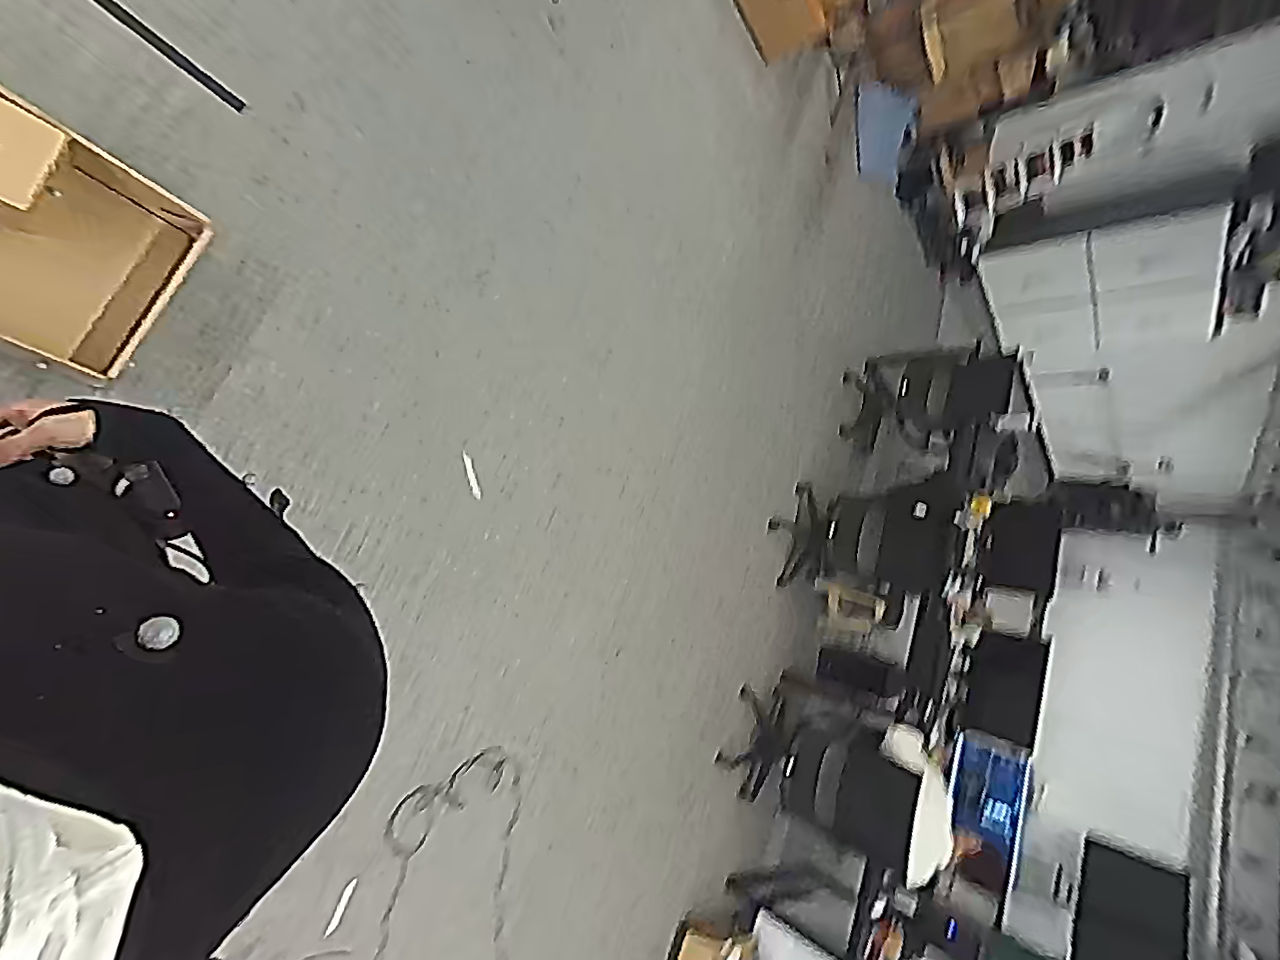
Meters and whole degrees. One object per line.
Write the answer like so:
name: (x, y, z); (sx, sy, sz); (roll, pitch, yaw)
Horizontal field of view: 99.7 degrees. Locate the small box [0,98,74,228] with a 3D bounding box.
small box: (-1.164, -0.579, 0.963); (0.179, 0.176, 0.168); (27, 75, -44)
